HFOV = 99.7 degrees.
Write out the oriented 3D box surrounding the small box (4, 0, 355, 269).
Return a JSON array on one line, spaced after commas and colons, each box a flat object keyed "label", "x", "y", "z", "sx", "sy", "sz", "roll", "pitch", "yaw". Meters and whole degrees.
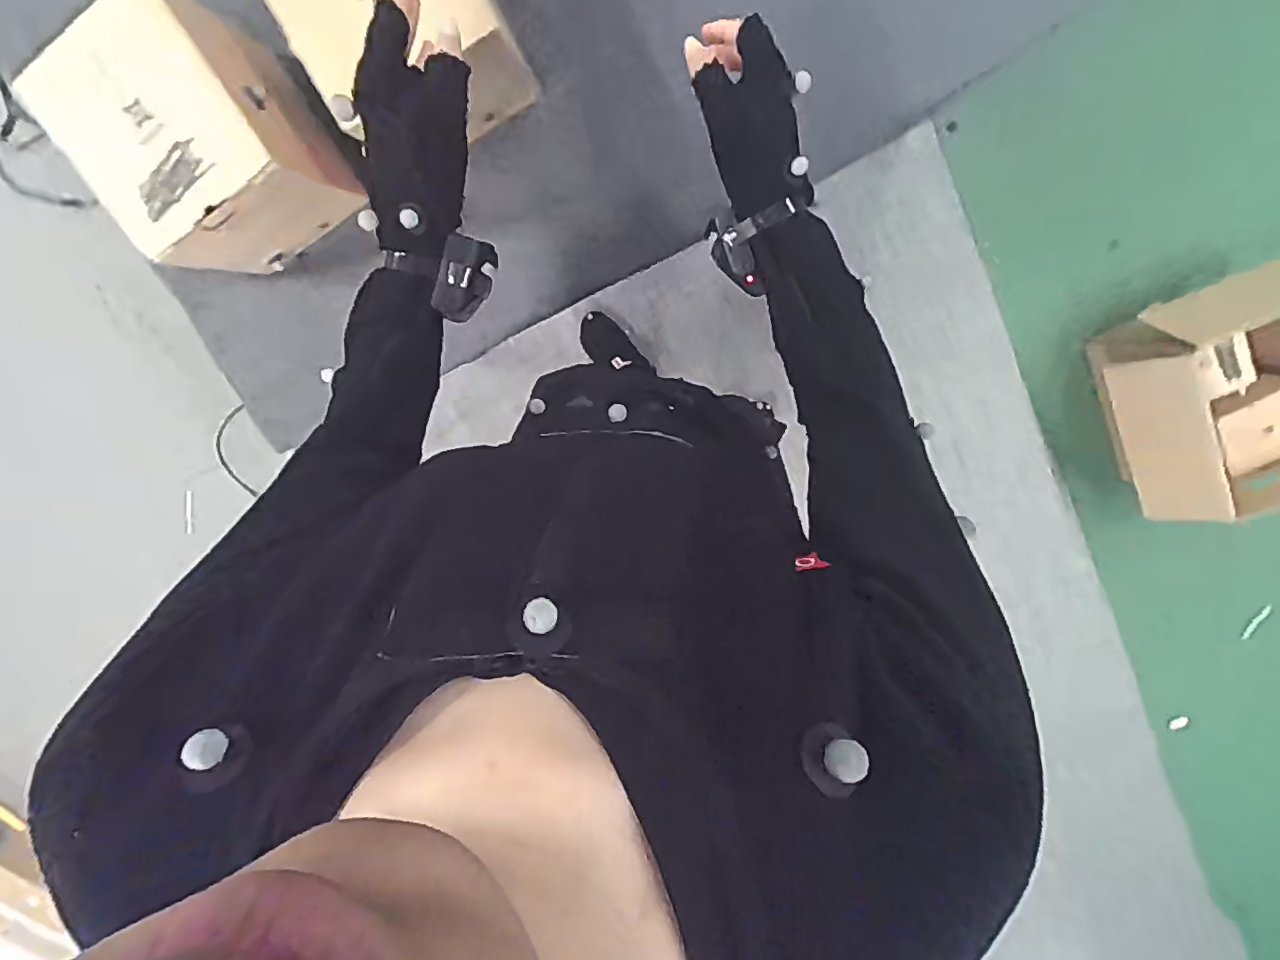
[{"label": "small box", "x": -0.440, "y": -0.336, "z": 0.553, "sx": 0.168, "sy": 0.176, "sz": 0.179, "roll": -30, "pitch": 103, "yaw": 11}]
